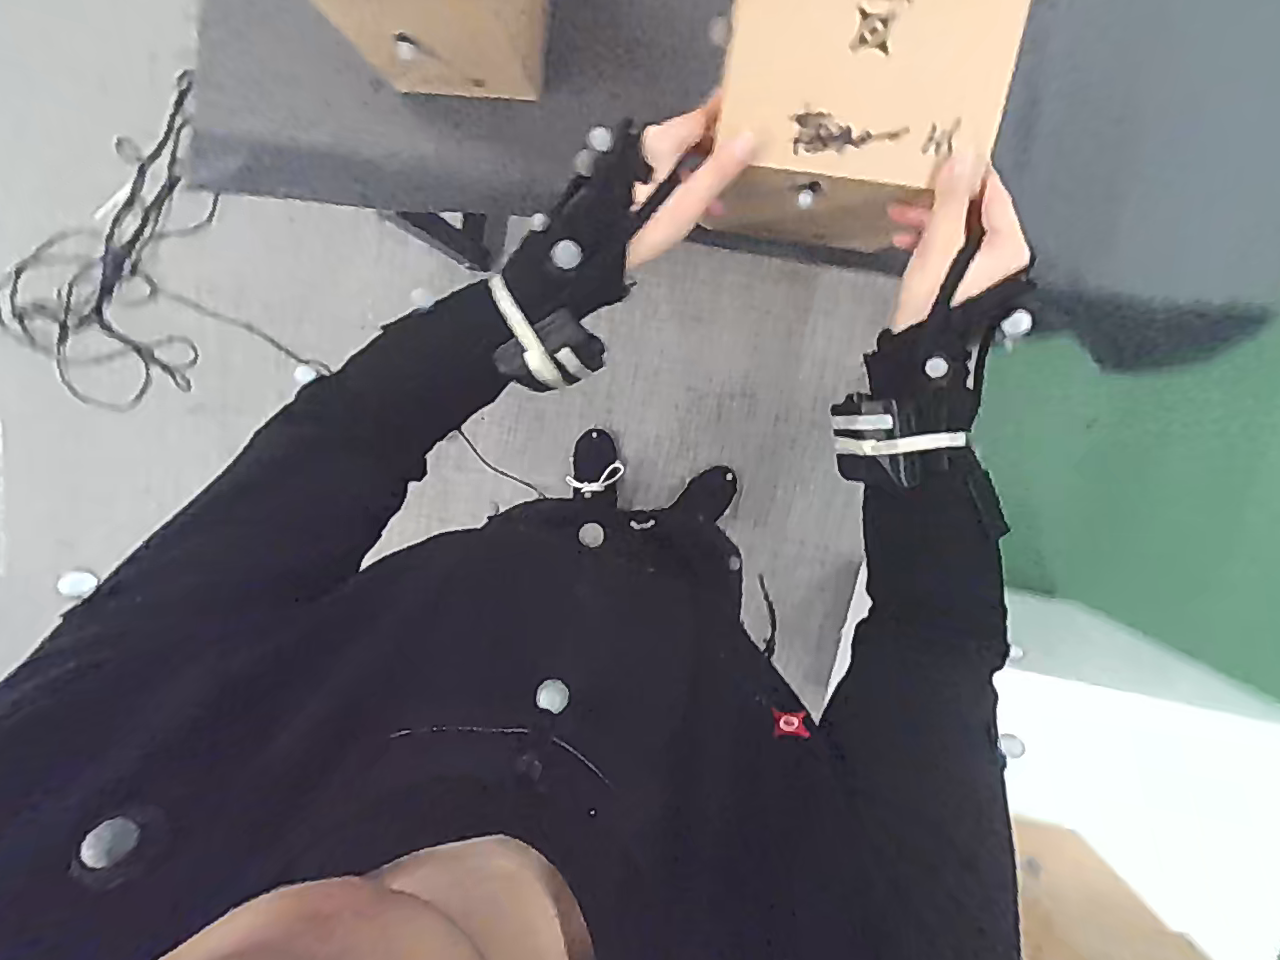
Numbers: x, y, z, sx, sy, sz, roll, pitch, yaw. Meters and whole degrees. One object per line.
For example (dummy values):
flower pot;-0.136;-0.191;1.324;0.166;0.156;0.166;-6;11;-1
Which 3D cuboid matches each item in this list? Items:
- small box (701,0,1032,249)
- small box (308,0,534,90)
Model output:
small box;0.139;-0.283;0.386;0.168;0.176;0.179;8;103;1
small box;-0.197;-0.498;0.498;0.168;0.176;0.179;6;98;3
